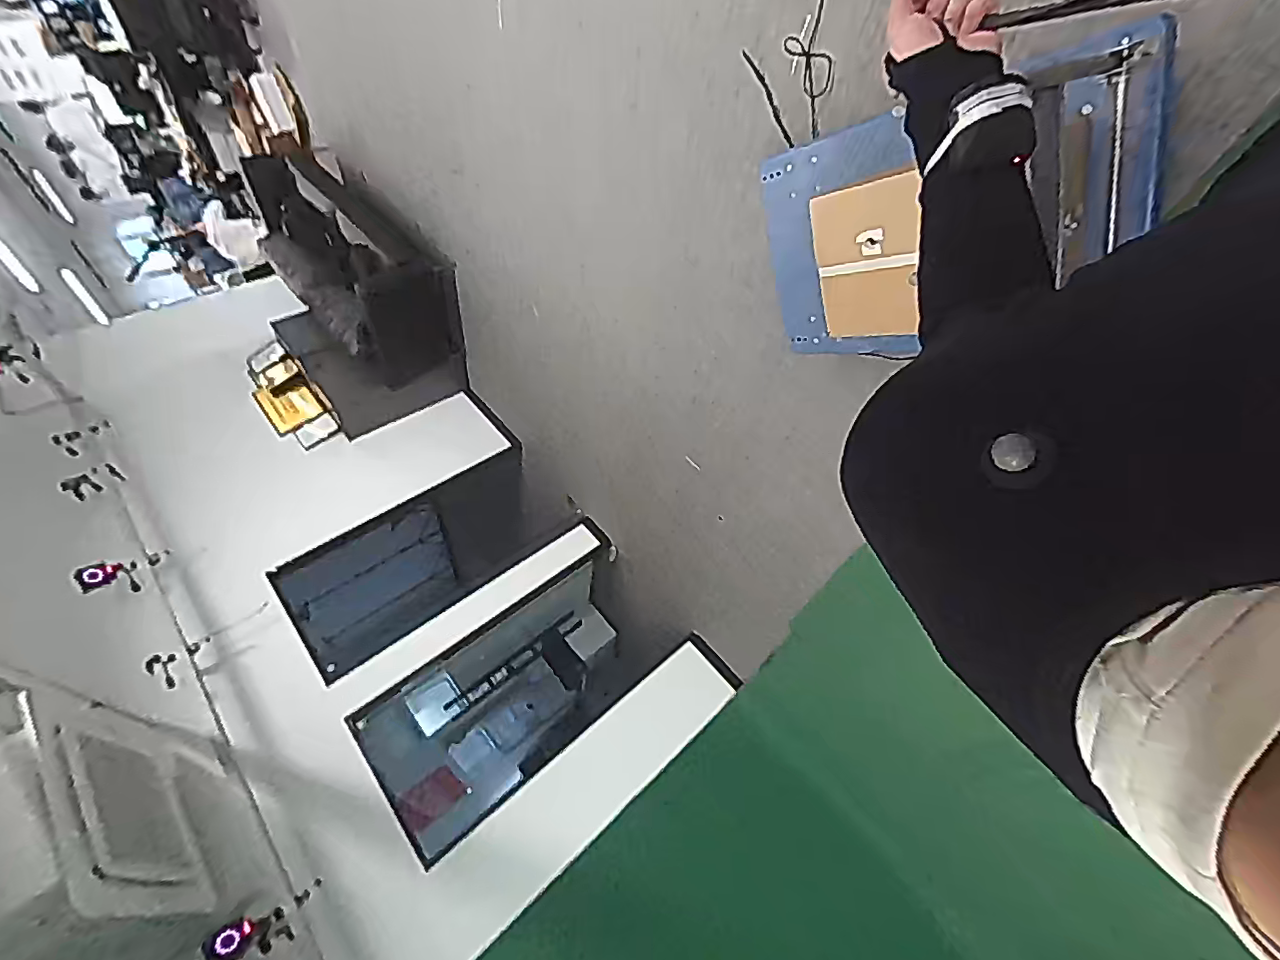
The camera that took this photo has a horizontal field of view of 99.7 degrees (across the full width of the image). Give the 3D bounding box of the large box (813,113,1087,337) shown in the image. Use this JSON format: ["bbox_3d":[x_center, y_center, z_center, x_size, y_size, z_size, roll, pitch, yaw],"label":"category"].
[{"bbox_3d":[0.648,-0.513,1.145,0.408,0.320,0.320,16,130,52],"label":"large box"}]
